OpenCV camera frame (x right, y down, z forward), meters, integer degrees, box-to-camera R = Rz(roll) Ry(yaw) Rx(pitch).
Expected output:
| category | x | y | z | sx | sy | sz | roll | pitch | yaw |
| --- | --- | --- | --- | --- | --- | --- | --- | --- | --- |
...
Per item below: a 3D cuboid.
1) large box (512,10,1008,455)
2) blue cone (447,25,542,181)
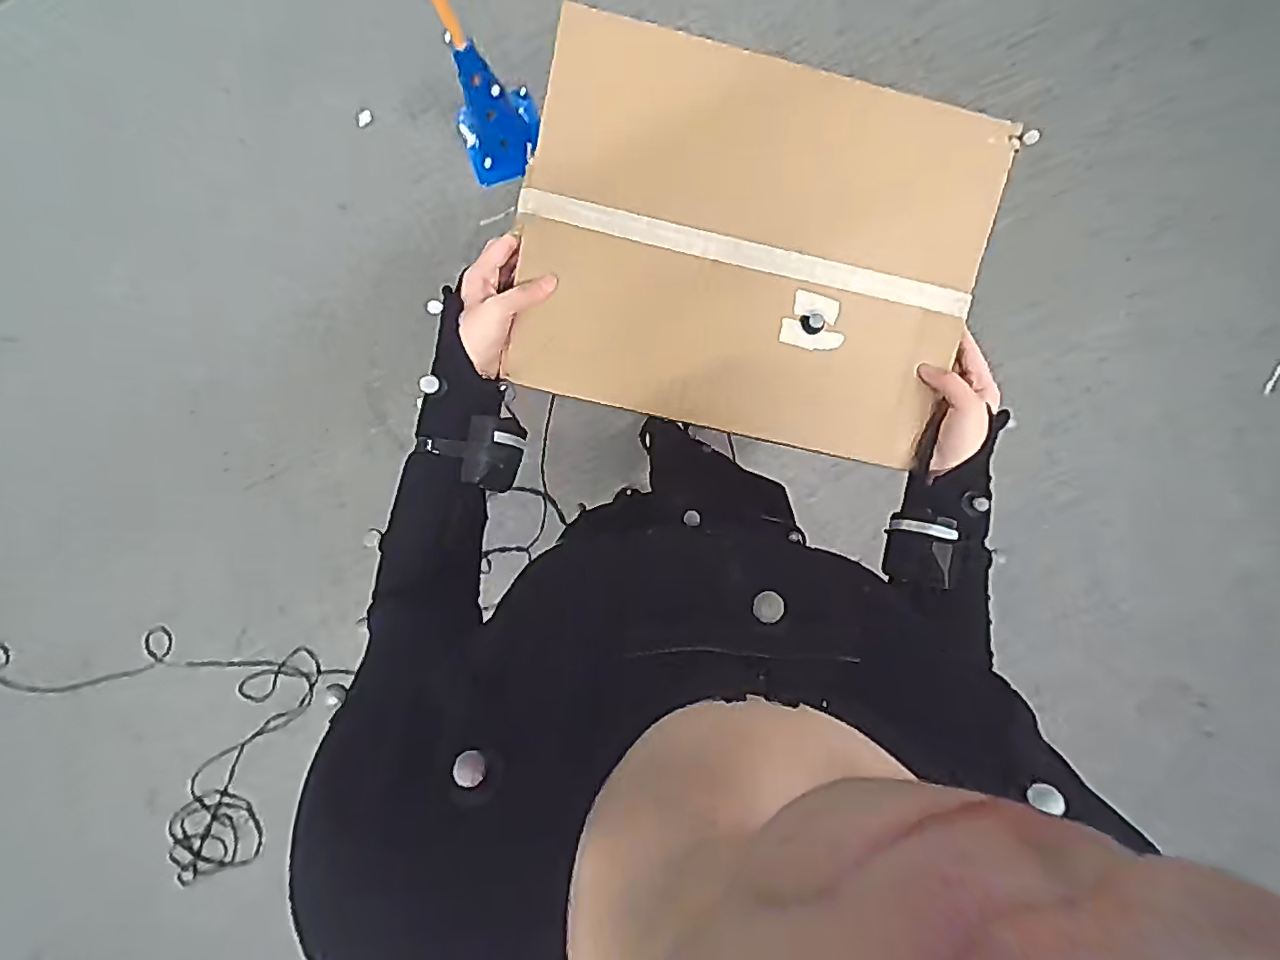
| category | x | y | z | sx | sy | sz | roll | pitch | yaw |
| --- | --- | --- | --- | --- | --- | --- | --- | --- | --- |
| large box | 0.096 | -0.232 | 0.633 | 0.408 | 0.320 | 0.320 | 12 | 99 | -5 |
| blue cone | -0.357 | -0.868 | 1.231 | 0.193 | 0.380 | 0.192 | -17 | 95 | 1 |
